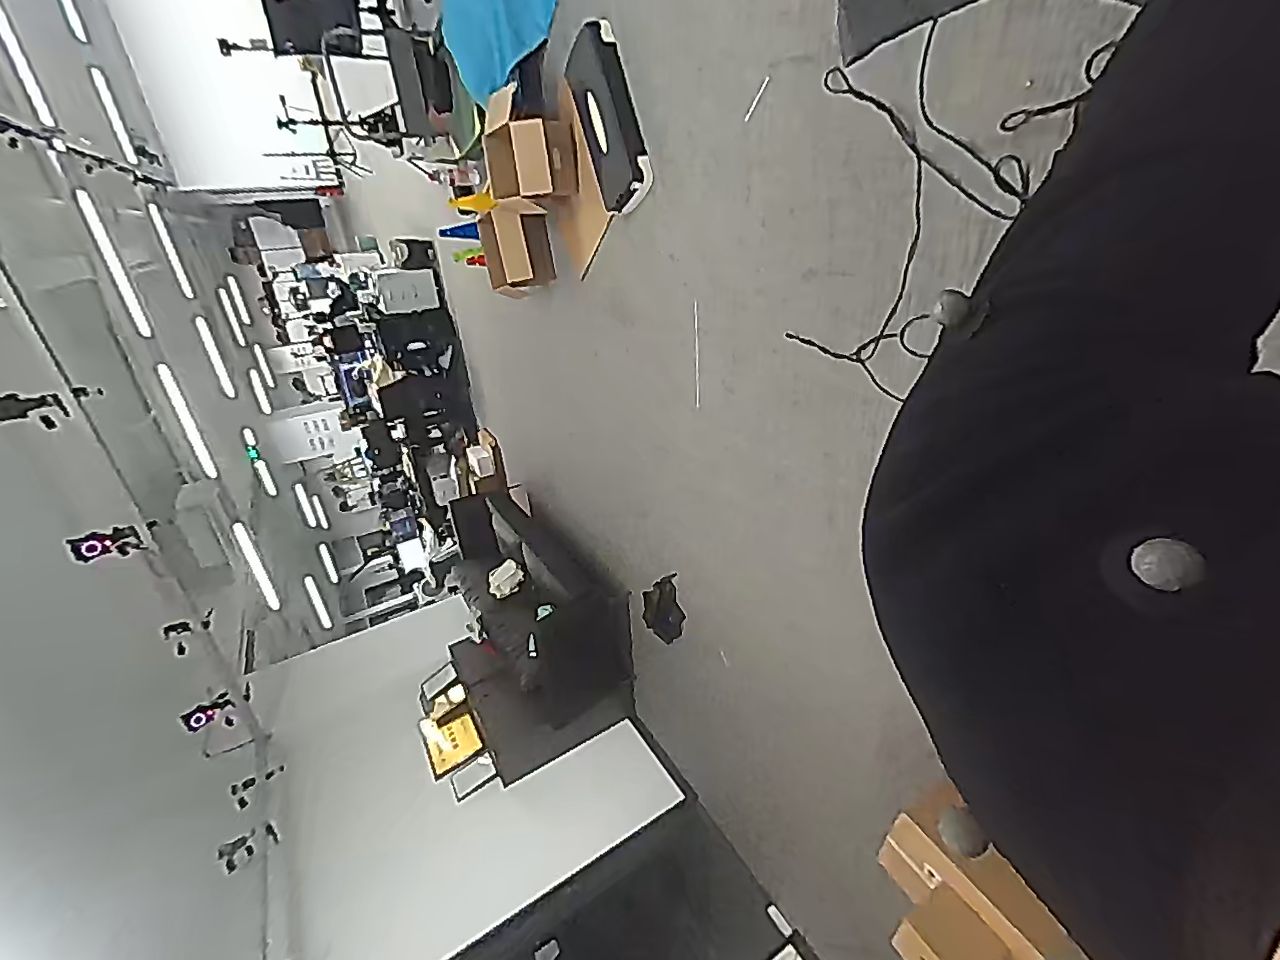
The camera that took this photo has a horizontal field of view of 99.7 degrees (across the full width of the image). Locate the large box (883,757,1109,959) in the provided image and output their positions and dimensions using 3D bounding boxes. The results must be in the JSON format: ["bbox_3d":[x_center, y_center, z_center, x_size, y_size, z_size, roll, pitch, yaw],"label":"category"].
[{"bbox_3d":[1.004,1.118,1.567,0.408,0.320,0.320,44,142,46],"label":"large box"}]
